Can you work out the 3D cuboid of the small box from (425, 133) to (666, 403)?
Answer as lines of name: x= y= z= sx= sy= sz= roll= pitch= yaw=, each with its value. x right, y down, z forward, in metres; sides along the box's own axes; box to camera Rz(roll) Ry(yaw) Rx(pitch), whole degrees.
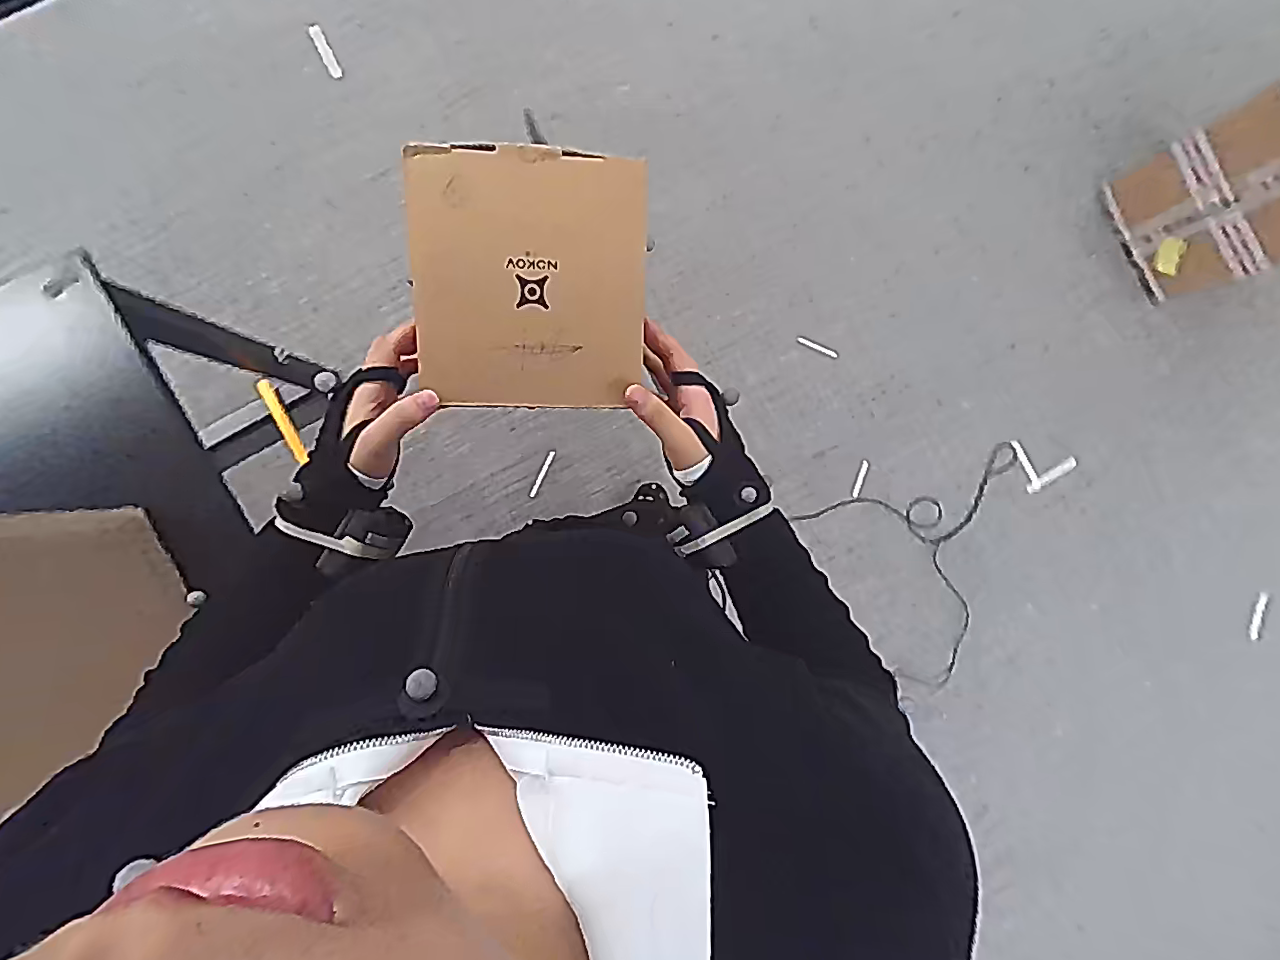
small box: x=-0.075 y=-0.166 z=0.465 sx=0.168 sy=0.176 sz=0.179 roll=1 pitch=106 yaw=-6
